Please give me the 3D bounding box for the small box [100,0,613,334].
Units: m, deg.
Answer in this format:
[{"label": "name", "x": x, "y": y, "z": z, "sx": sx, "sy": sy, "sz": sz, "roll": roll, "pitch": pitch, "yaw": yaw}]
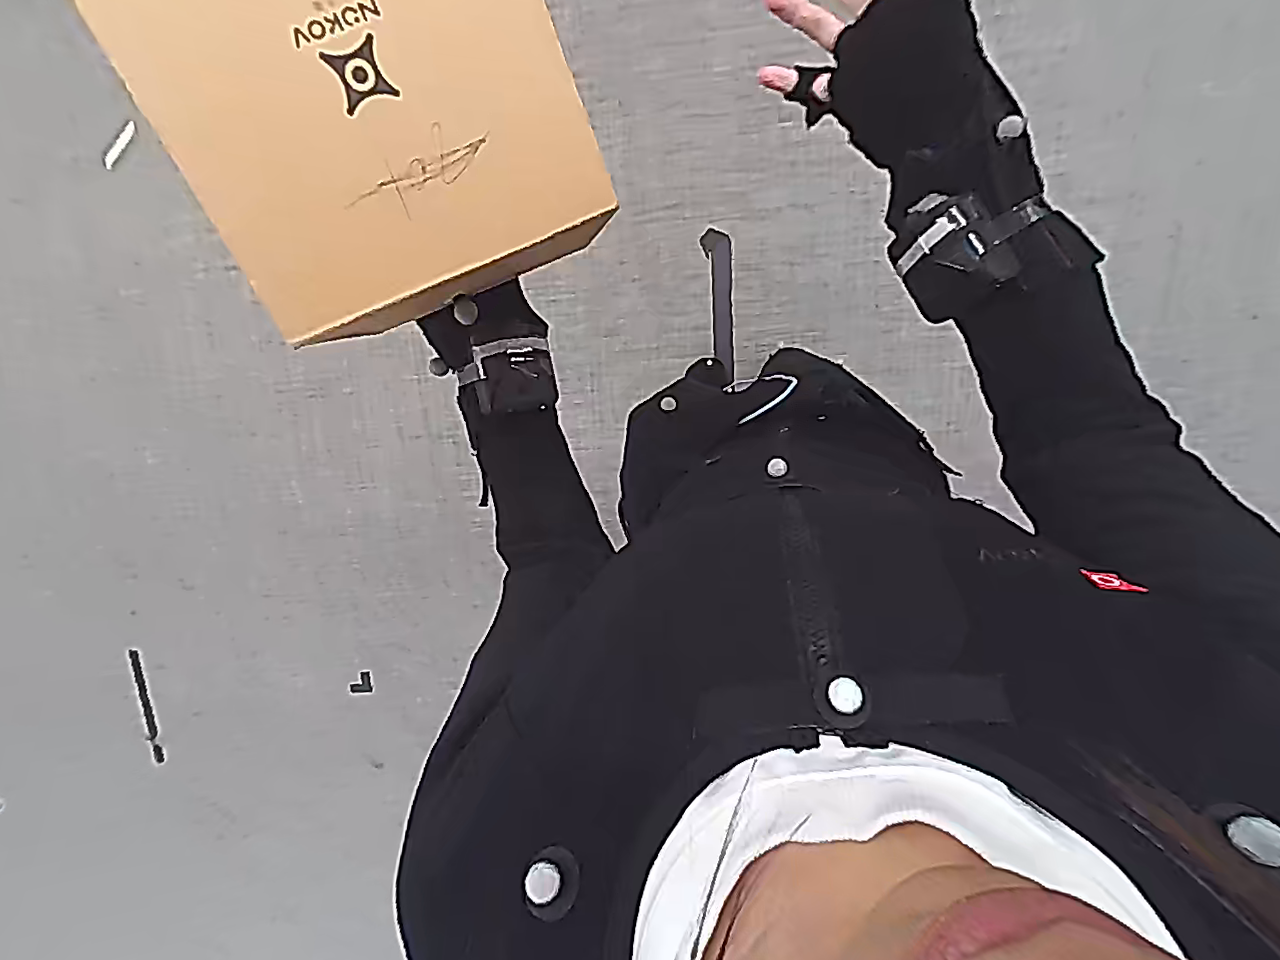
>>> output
[{"label": "small box", "x": -0.132, "y": -0.196, "z": 0.308, "sx": 0.168, "sy": 0.176, "sz": 0.179, "roll": -24, "pitch": 110, "yaw": -3}]
